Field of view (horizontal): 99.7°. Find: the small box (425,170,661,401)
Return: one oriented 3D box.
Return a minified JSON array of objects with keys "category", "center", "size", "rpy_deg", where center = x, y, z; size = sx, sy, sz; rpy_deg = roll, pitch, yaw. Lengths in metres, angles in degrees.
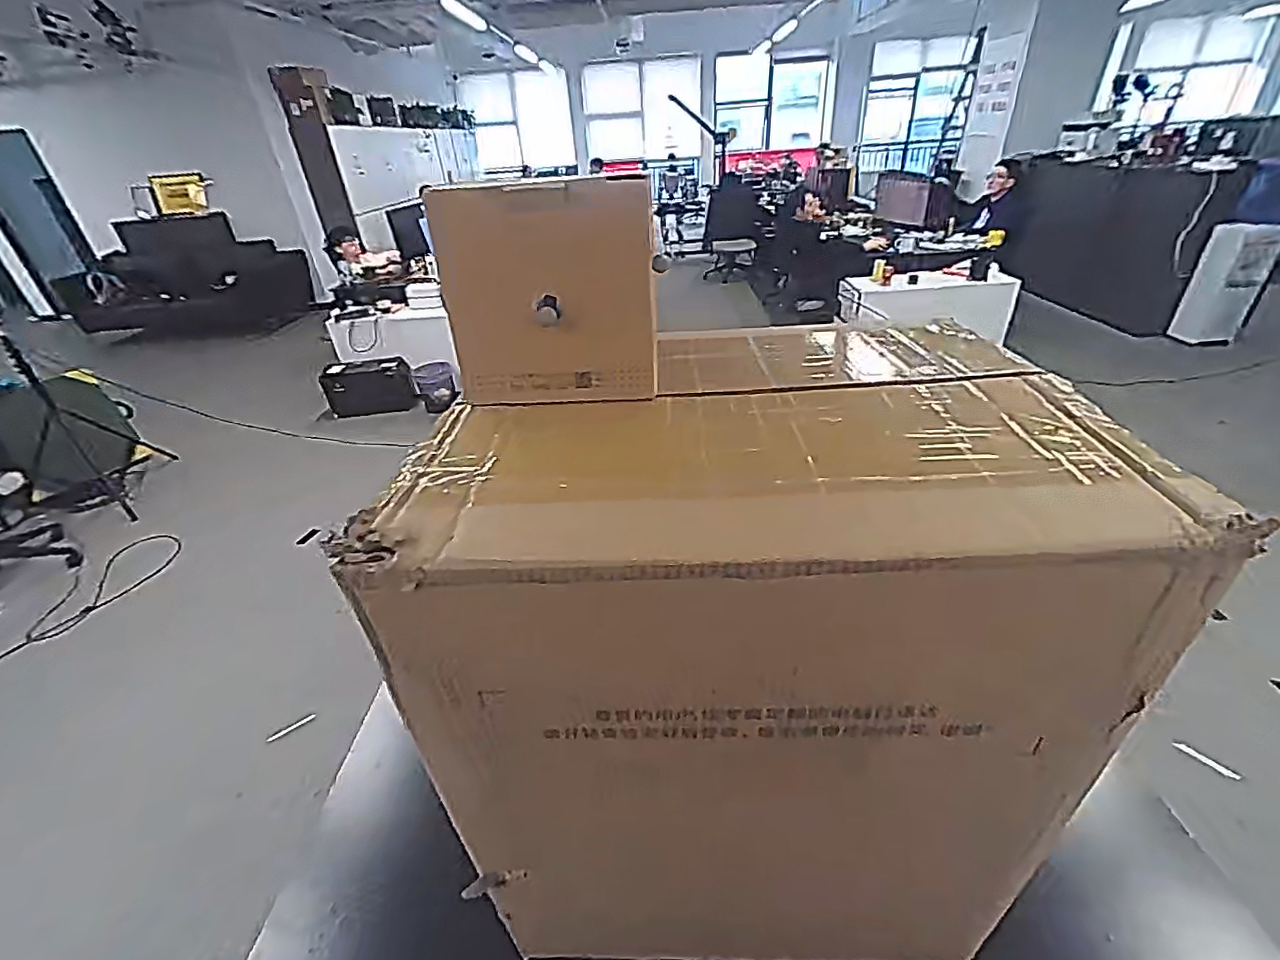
[{"category":"small box","center":[-0.066,-0.177,0.492],"size":[0.168,0.176,0.179],"rpy_deg":[-2,31,3]}]
